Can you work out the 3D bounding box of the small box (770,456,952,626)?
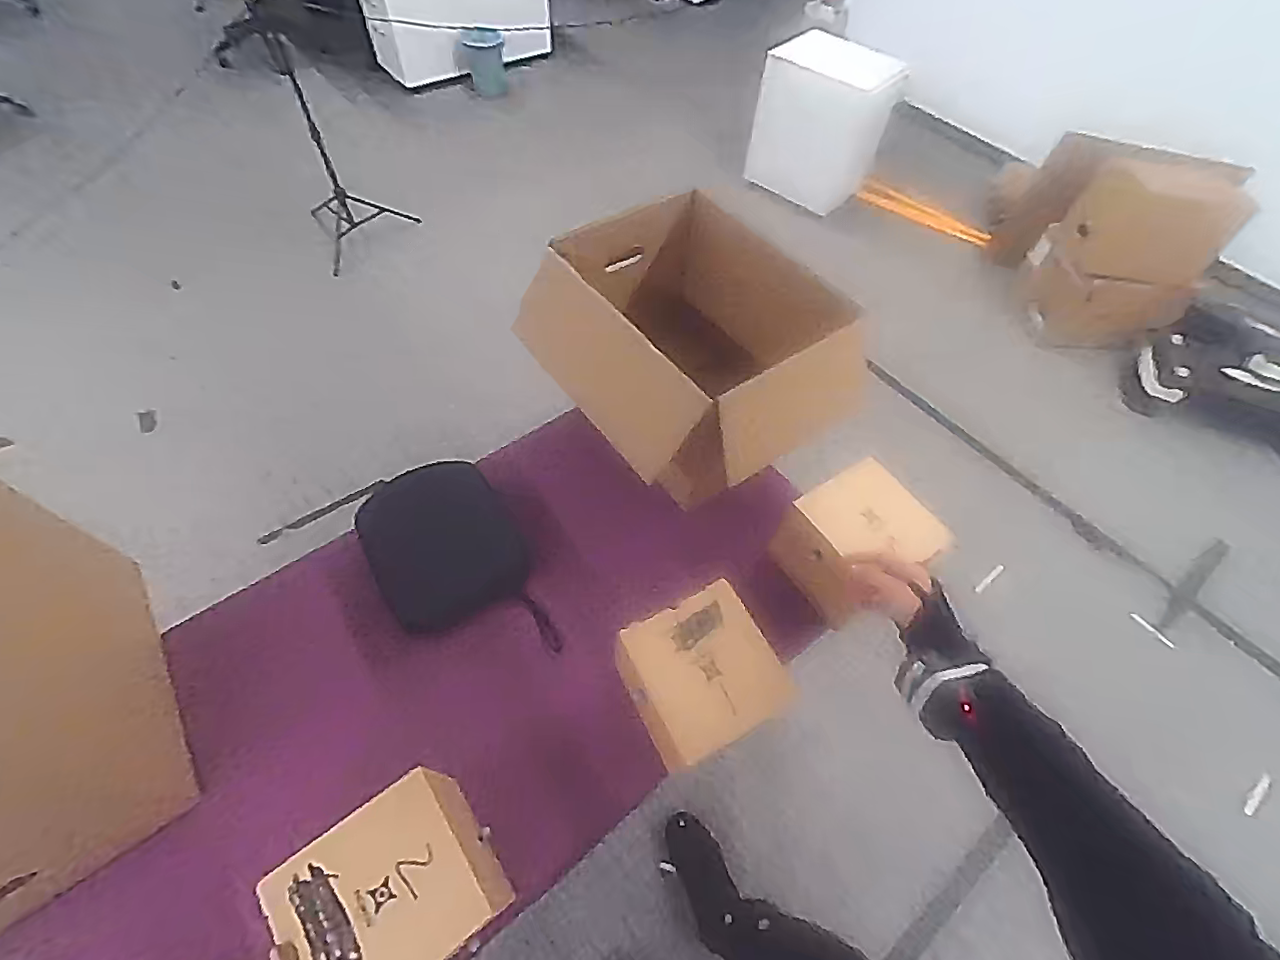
[{"bbox_3d":[0.333,0.101,0.857,0.168,0.176,0.179,-28,63,-18],"label":"small box"}]
